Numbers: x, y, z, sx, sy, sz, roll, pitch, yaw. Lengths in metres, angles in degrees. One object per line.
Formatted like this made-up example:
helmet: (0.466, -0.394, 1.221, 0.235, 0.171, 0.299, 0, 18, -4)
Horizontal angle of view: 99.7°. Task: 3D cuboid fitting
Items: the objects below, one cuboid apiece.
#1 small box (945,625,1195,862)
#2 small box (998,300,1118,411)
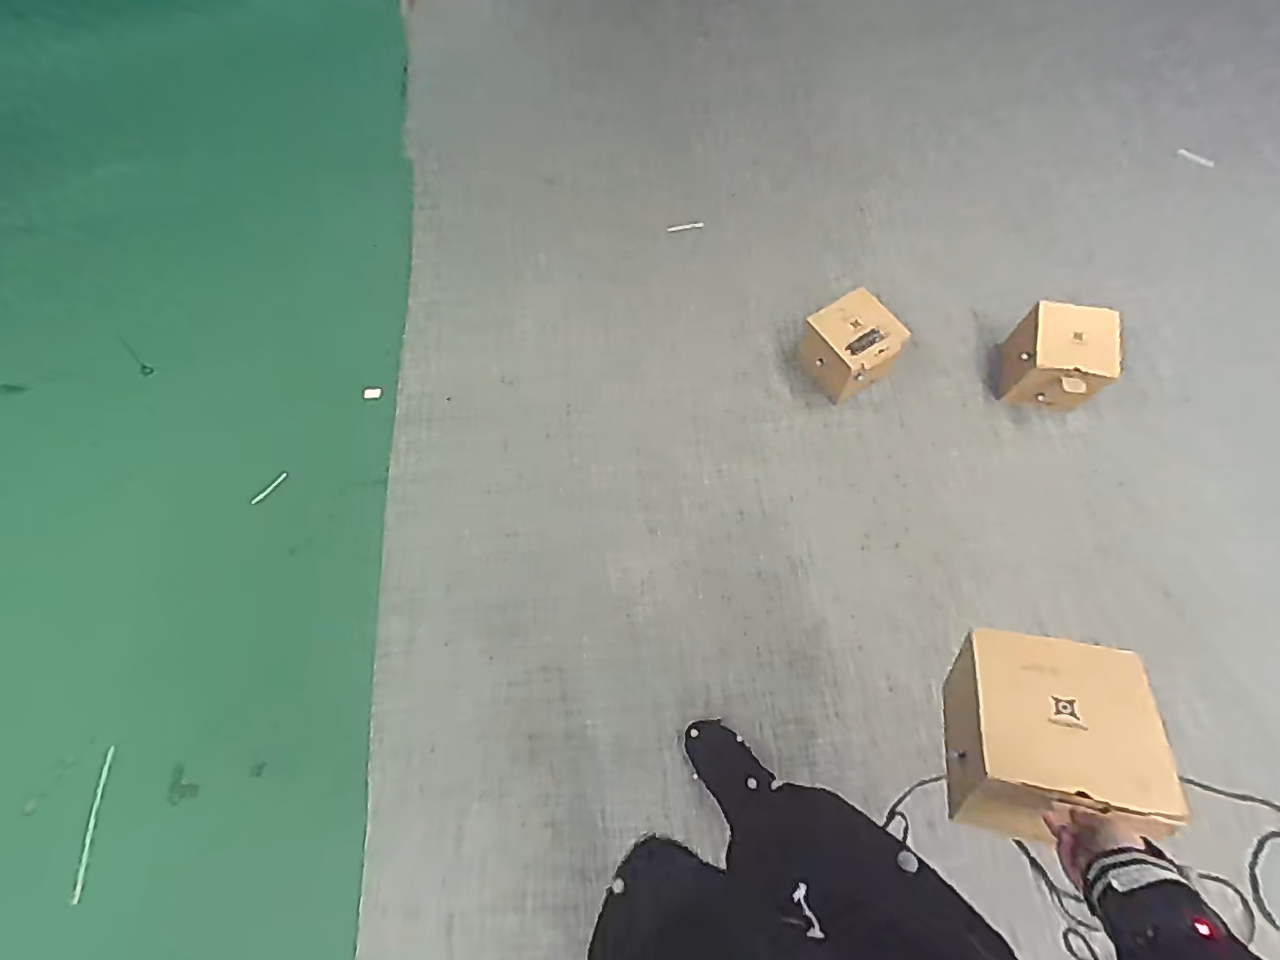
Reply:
small box: (0.459, 0.299, 0.616, 0.168, 0.176, 0.179, 8, 46, 19)
small box: (0.967, -0.286, 1.263, 0.168, 0.176, 0.179, 12, 73, 10)
